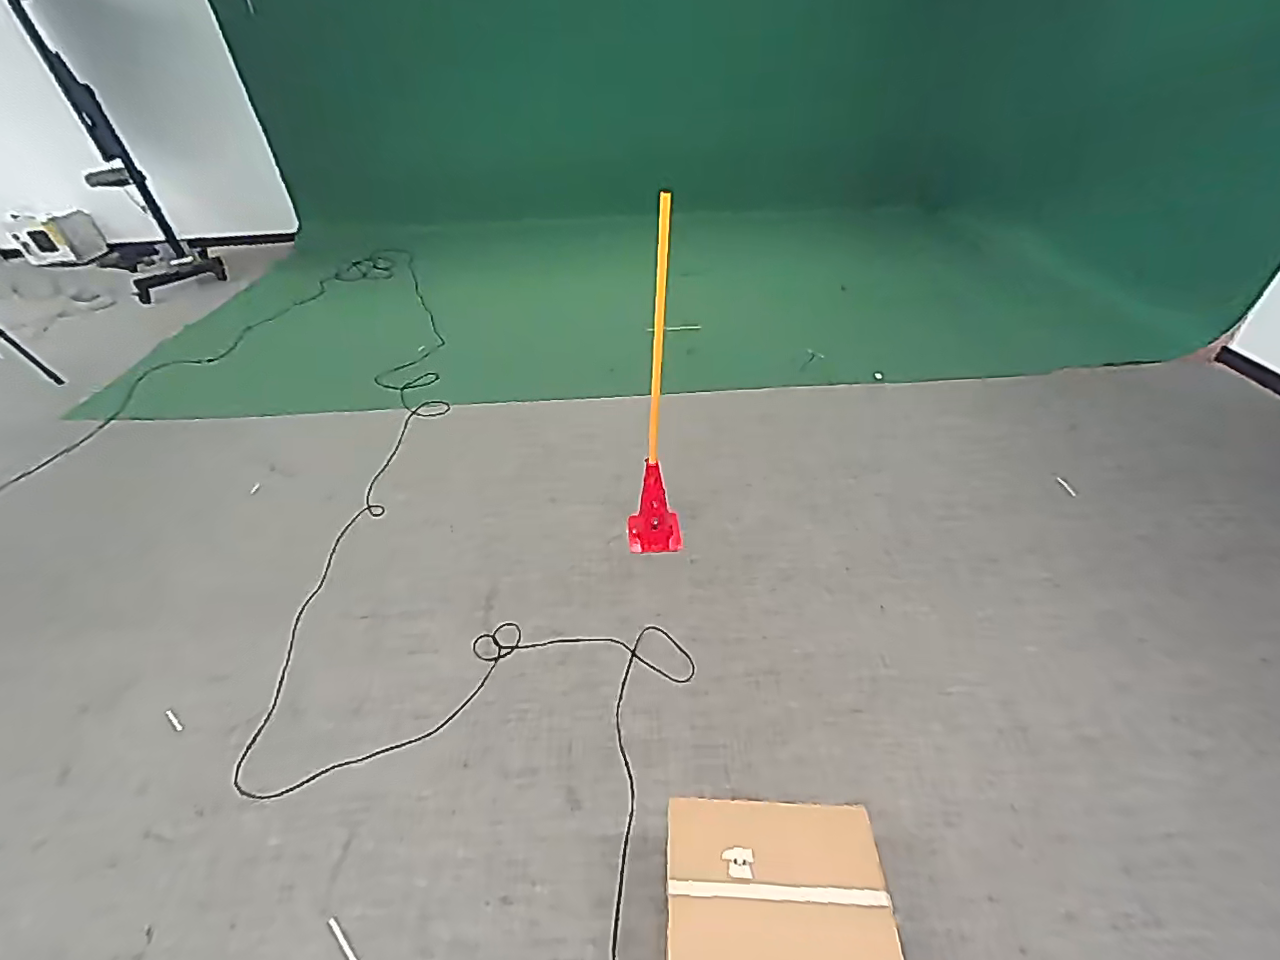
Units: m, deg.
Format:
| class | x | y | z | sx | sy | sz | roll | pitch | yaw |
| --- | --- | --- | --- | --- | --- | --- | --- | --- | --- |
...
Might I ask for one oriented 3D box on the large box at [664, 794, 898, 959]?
| class | x | y | z | sx | sy | sz | roll | pitch | yaw |
| --- | --- | --- | --- | --- | --- | --- | --- | --- | --- |
| large box | 0.255 | 0.869 | 1.103 | 0.408 | 0.320 | 0.320 | 1 | 41 | 4 |
